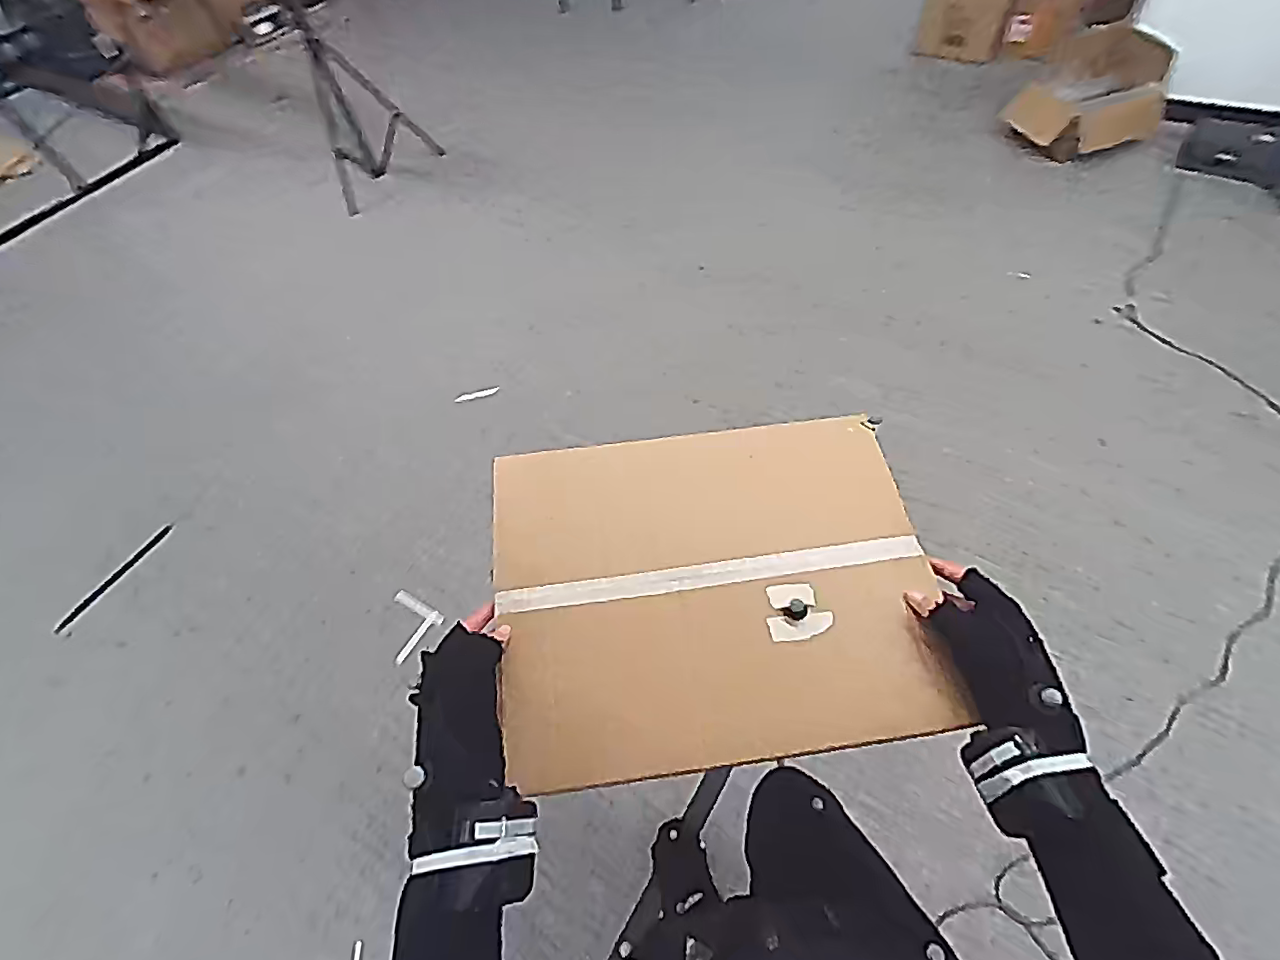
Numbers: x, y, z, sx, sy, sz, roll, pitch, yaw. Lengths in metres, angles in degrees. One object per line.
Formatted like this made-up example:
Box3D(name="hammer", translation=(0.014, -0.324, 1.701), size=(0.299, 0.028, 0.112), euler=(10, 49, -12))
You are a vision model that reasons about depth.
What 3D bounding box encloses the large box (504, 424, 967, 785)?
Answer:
Box3D(name="large box", translation=(0.069, 0.164, 0.655), size=(0.408, 0.320, 0.320), euler=(-6, 62, -3))
